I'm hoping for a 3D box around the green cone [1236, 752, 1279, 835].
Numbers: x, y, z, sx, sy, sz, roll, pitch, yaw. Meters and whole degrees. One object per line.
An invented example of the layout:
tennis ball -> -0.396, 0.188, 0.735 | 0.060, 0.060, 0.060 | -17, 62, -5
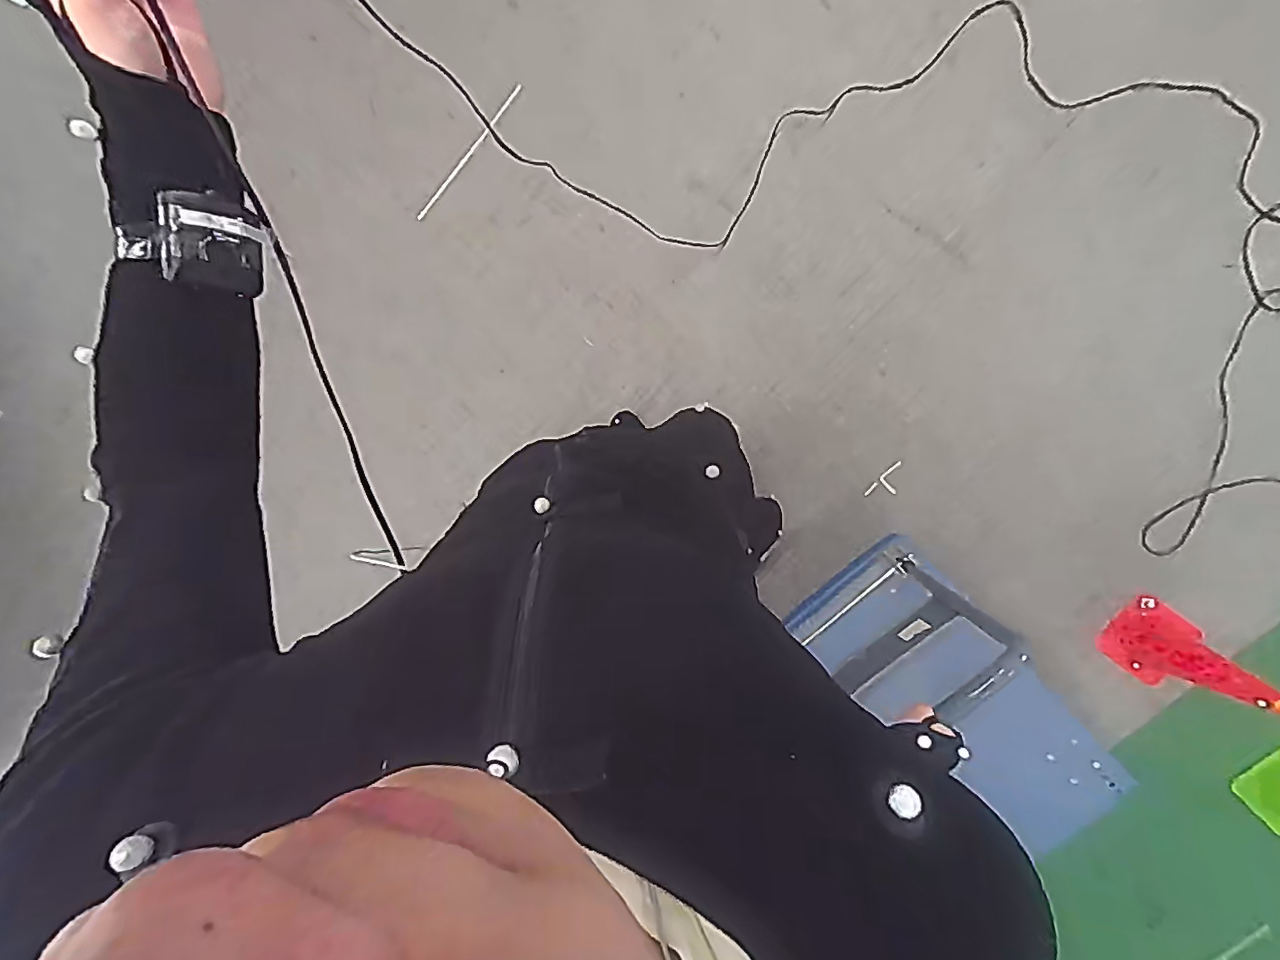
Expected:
green cone -> 1.728, 0.856, 1.286 | 0.202, 0.368, 0.200 | 44, 98, 0
